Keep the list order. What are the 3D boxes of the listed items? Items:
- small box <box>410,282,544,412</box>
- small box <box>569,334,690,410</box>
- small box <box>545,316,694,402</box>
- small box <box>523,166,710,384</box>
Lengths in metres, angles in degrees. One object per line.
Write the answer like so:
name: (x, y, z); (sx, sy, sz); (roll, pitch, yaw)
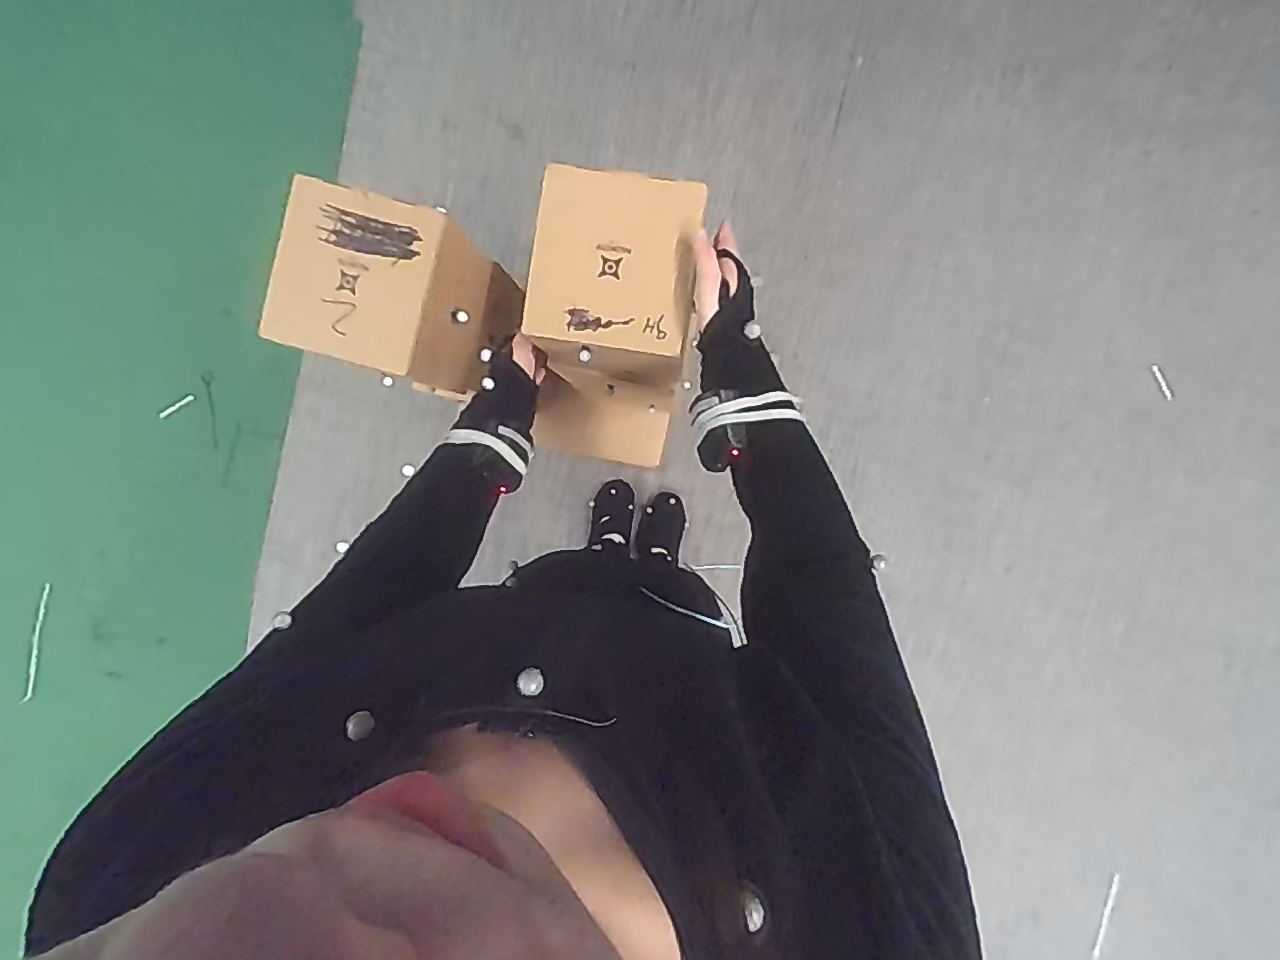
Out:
small box: (-0.279, -0.225, 0.965); (0.168, 0.176, 0.179); (14, 93, 2)
small box: (-0.009, -0.222, 0.951); (0.179, 0.176, 0.168); (12, 93, 5)
small box: (-0.019, -0.215, 0.787); (0.179, 0.176, 0.168); (13, 93, 5)
small box: (-0.020, -0.220, 0.623); (0.168, 0.176, 0.179); (10, 93, 4)
